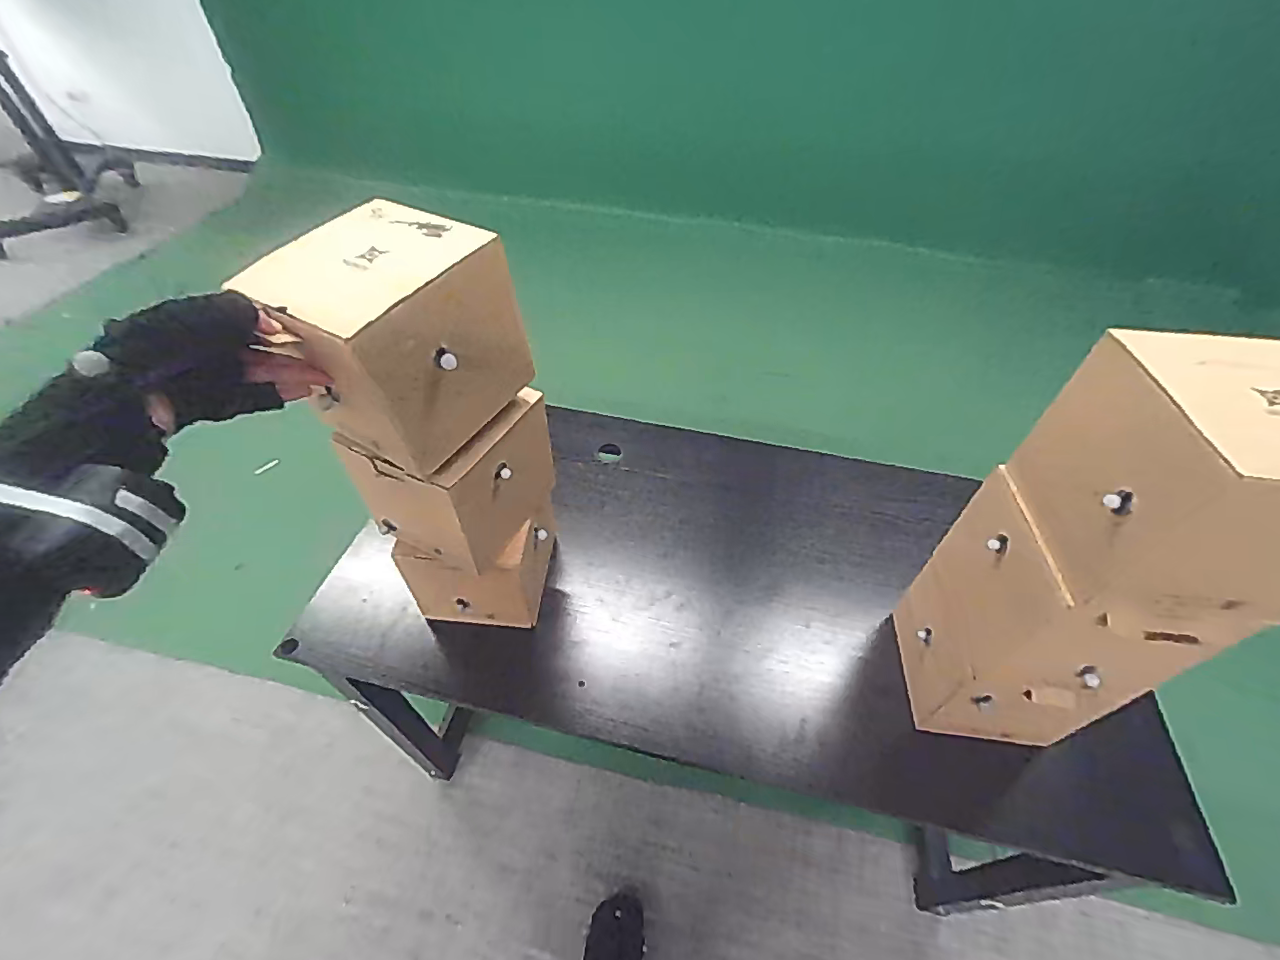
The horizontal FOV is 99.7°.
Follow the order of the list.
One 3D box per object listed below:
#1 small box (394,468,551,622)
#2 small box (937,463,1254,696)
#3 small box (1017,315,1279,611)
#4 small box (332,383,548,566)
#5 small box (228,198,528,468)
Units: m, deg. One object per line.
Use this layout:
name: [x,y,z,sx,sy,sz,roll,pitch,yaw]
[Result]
small box: [-0.228,0.085,0.795,0.168,0.176,0.179,5,50,1]
small box: [0.450,0.107,0.580,0.168,0.176,0.179,5,49,3]
small box: [0.461,-0.011,0.444,0.168,0.176,0.179,5,48,2]
small box: [-0.227,-0.023,0.671,0.168,0.176,0.179,22,51,15]
small box: [-0.234,-0.142,0.534,0.168,0.176,0.179,26,59,20]
